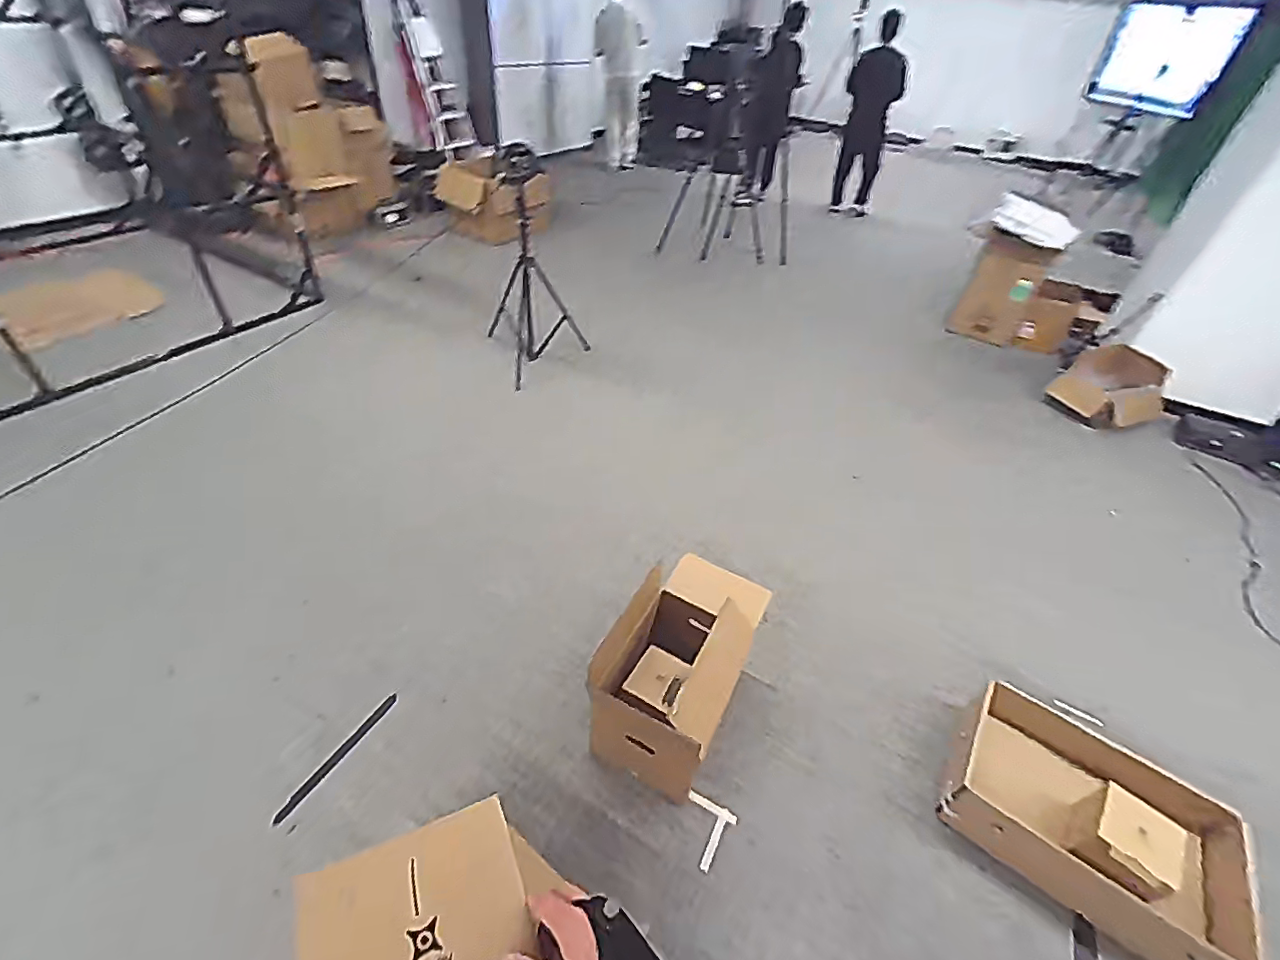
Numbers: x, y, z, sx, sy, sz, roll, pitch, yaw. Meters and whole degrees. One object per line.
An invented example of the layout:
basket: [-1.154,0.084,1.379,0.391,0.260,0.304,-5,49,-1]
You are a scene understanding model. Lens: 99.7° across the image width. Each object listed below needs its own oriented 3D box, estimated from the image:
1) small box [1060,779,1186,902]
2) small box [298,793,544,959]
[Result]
small box: [1.204,0.907,1.358,0.168,0.176,0.179,35,50,29]
small box: [-0.184,0.414,0.470,0.168,0.176,0.179,-9,51,-28]
